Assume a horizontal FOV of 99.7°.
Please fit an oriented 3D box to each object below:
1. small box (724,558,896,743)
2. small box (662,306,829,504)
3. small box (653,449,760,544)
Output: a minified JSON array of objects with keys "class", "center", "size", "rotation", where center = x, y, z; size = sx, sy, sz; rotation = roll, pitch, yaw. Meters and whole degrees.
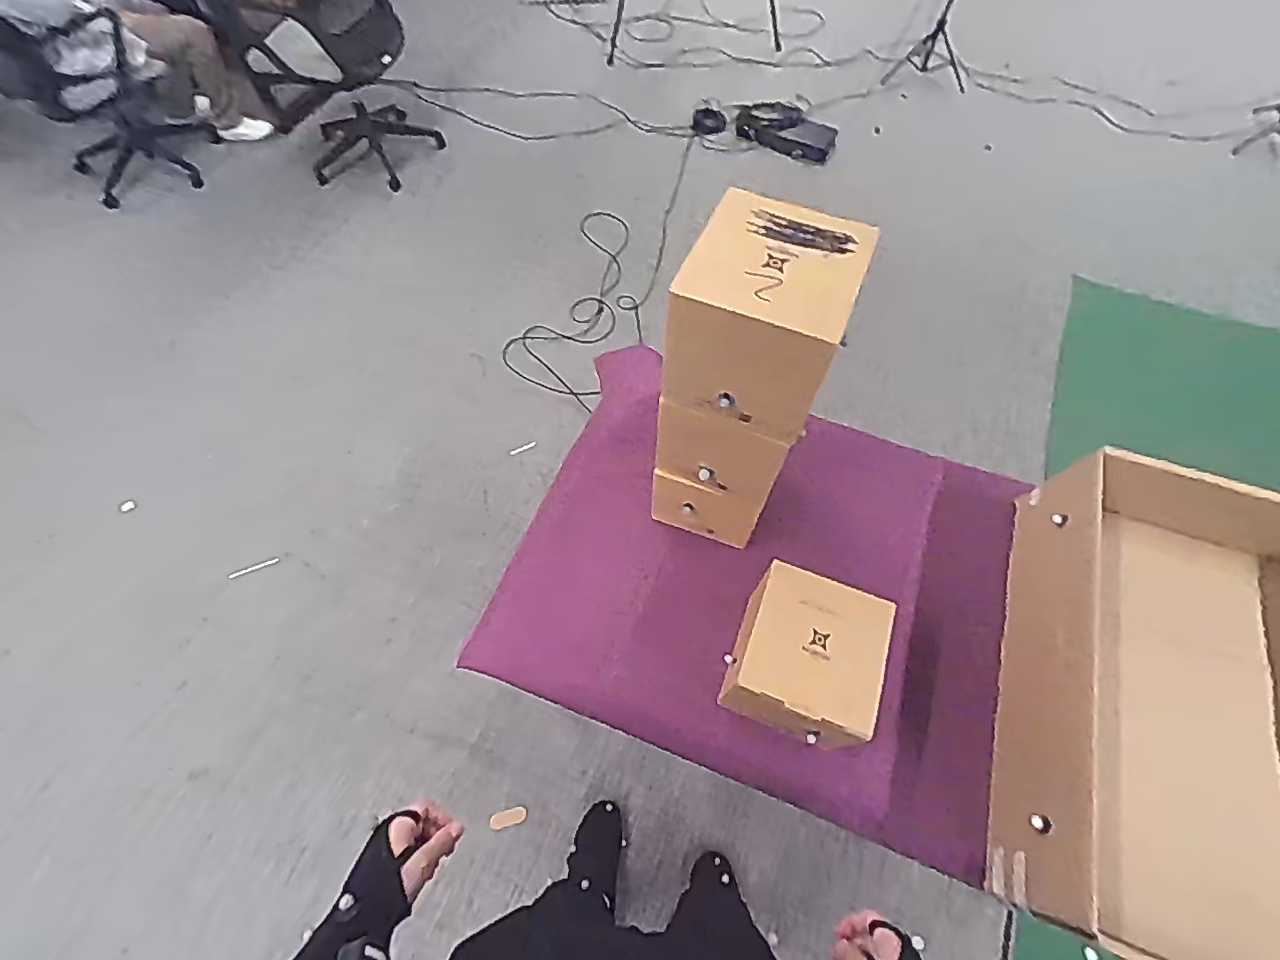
[{"class":"small box","center":[0.222,0.240,0.741],"size":[0.168,0.176,0.179],"rotation":[20,61,10]},{"class":"small box","center":[0.135,-0.098,0.744],"size":[0.168,0.176,0.179],"rotation":[22,64,12]},{"class":"small box","center":[0.127,-0.018,0.887],"size":[0.168,0.176,0.179],"rotation":[18,62,10]}]
